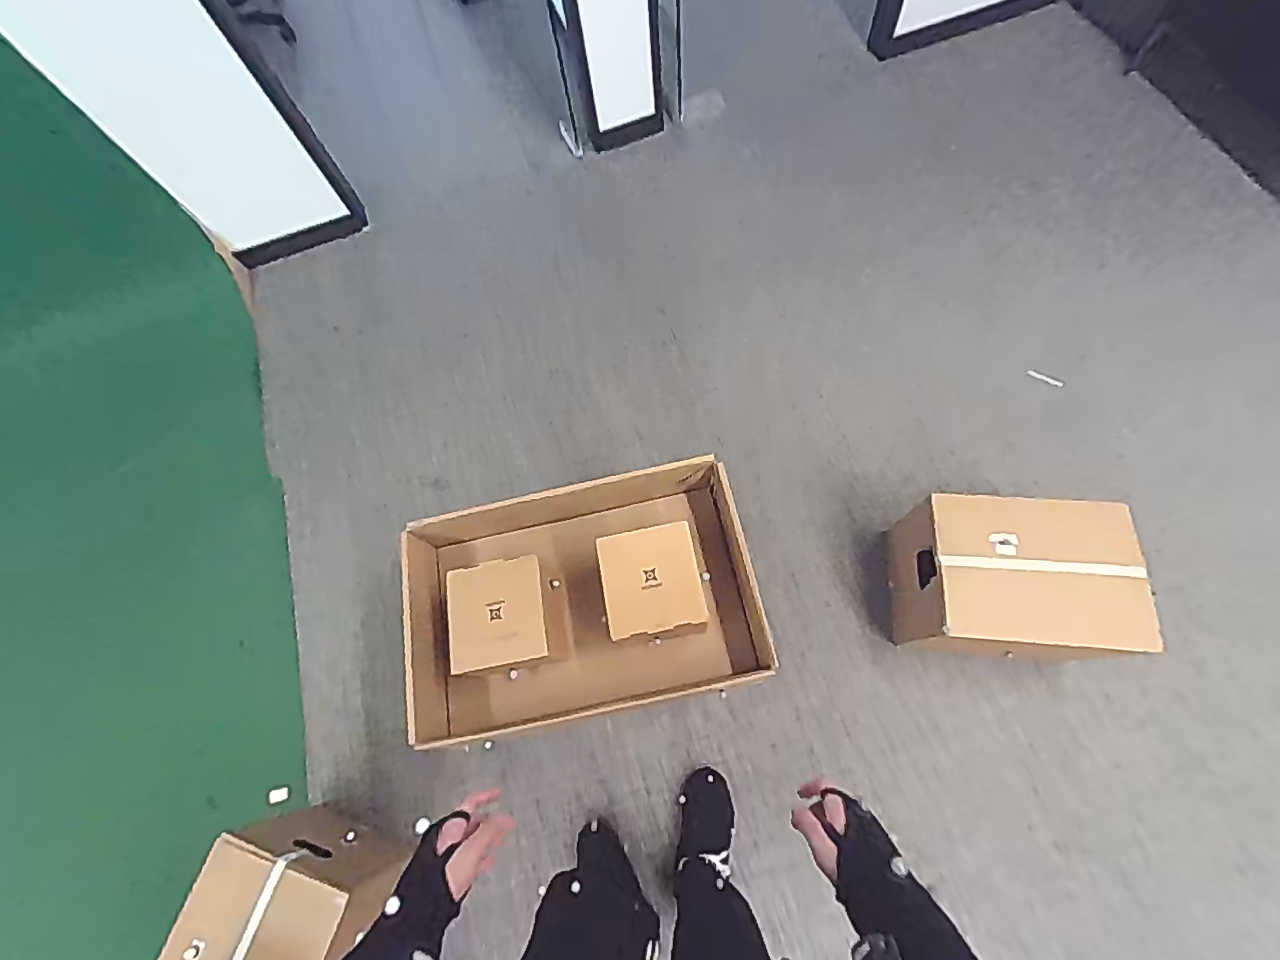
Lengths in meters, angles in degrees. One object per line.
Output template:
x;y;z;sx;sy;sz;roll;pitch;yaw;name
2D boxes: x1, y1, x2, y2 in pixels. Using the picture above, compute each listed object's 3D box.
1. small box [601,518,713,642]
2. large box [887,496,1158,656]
0.030;0.187;0.979;0.168;0.176;0.179;-12;69;1;small box
0.841;0.236;1.263;0.408;0.320;0.320;3;69;7;large box
